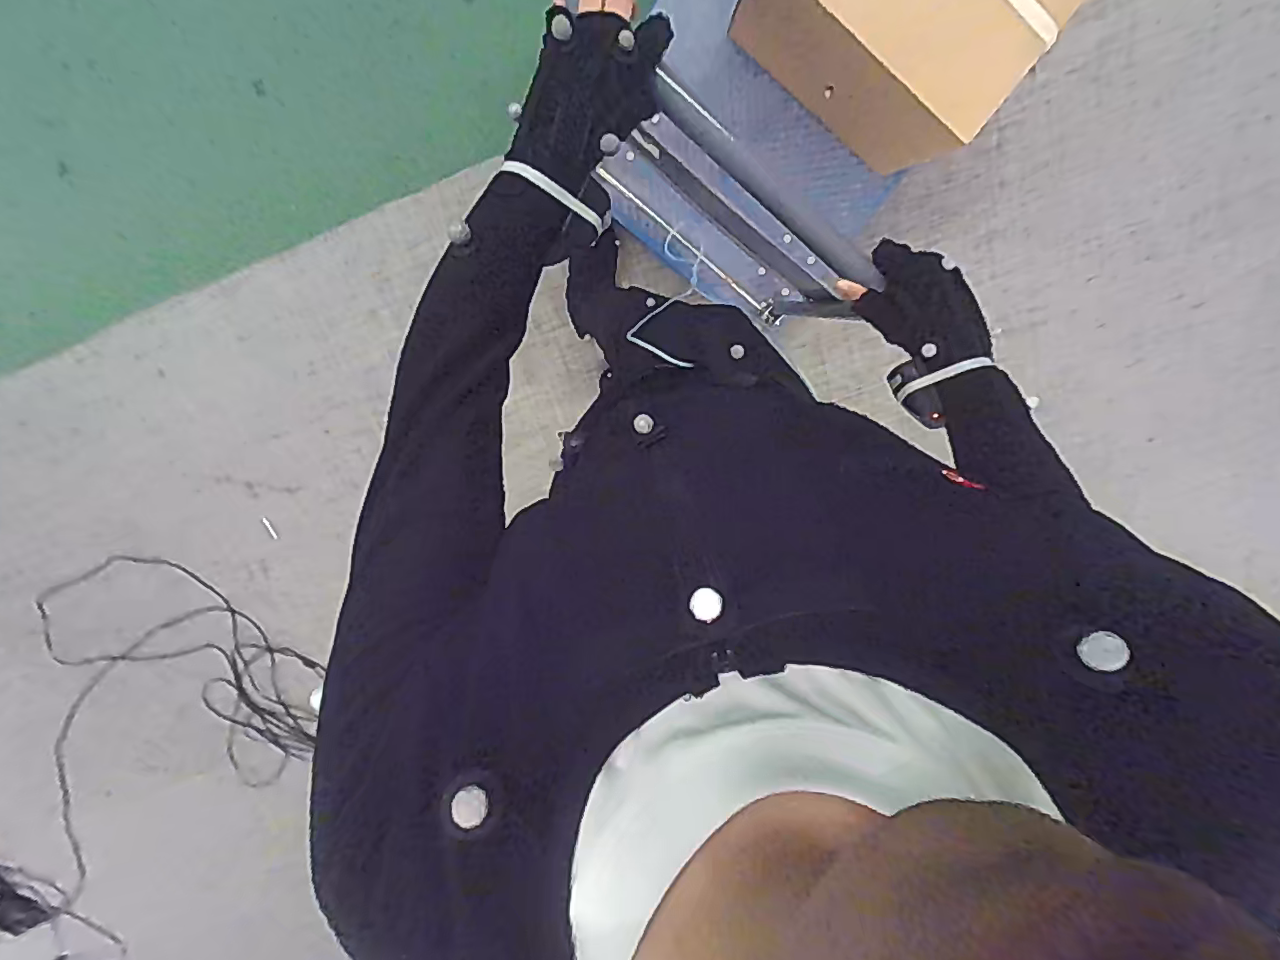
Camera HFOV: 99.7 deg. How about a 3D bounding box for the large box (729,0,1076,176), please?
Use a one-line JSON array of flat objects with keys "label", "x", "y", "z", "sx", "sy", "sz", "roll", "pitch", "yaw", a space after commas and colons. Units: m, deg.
[{"label": "large box", "x": 0.407, "y": -0.771, "z": 0.869, "sx": 0.408, "sy": 0.320, "sz": 0.320, "roll": 34, "pitch": 107, "yaw": -11}]
